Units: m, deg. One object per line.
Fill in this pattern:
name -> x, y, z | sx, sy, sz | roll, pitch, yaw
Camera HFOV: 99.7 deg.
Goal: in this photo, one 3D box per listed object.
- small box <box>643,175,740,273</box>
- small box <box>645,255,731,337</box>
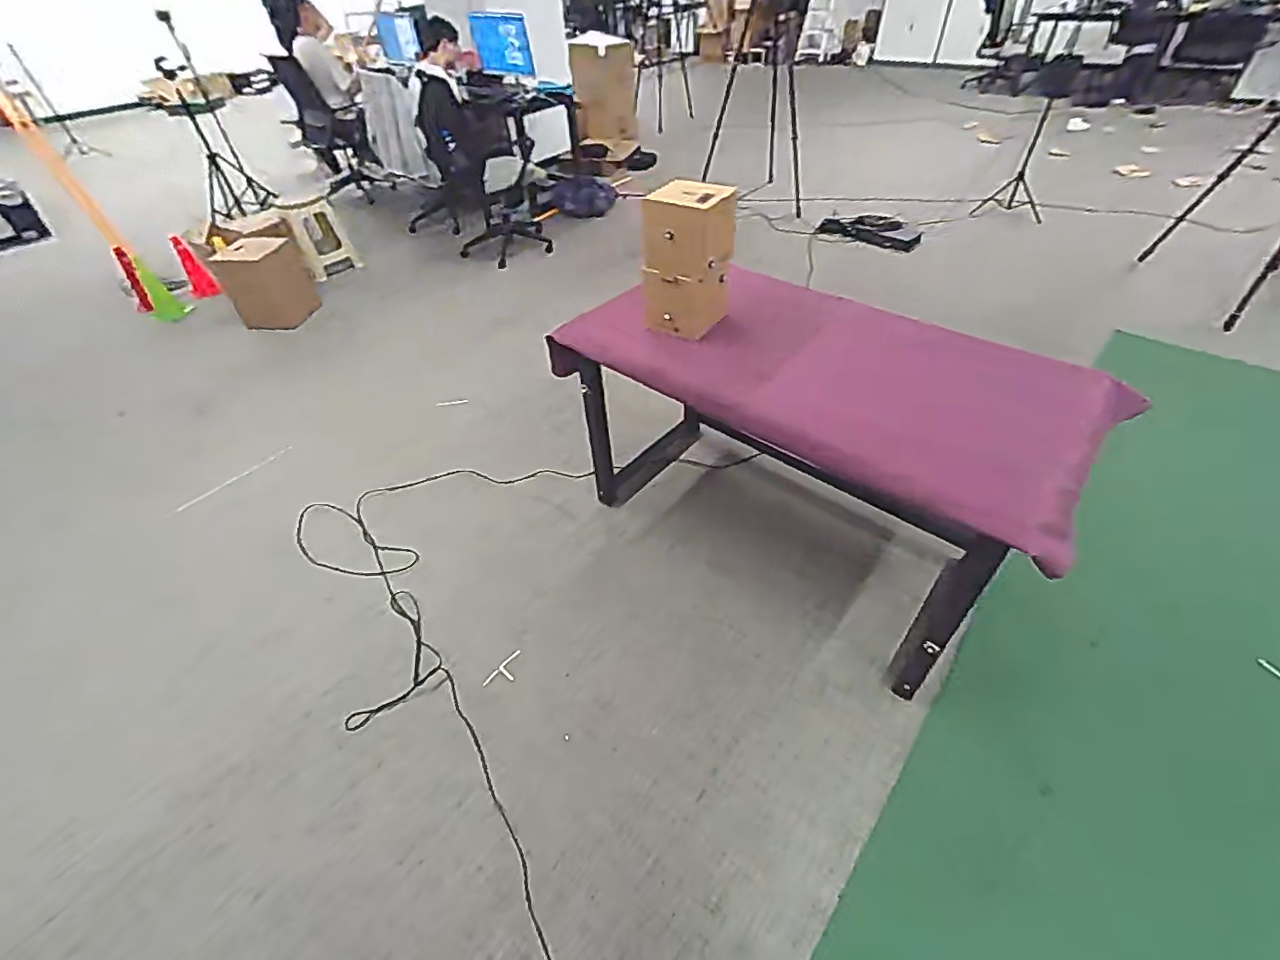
small box -> 0.126, -0.631, 1.337 | 0.179, 0.176, 0.168 | 26, 51, 27
small box -> 0.127, -0.513, 1.456 | 0.168, 0.176, 0.179 | 24, 51, 26
